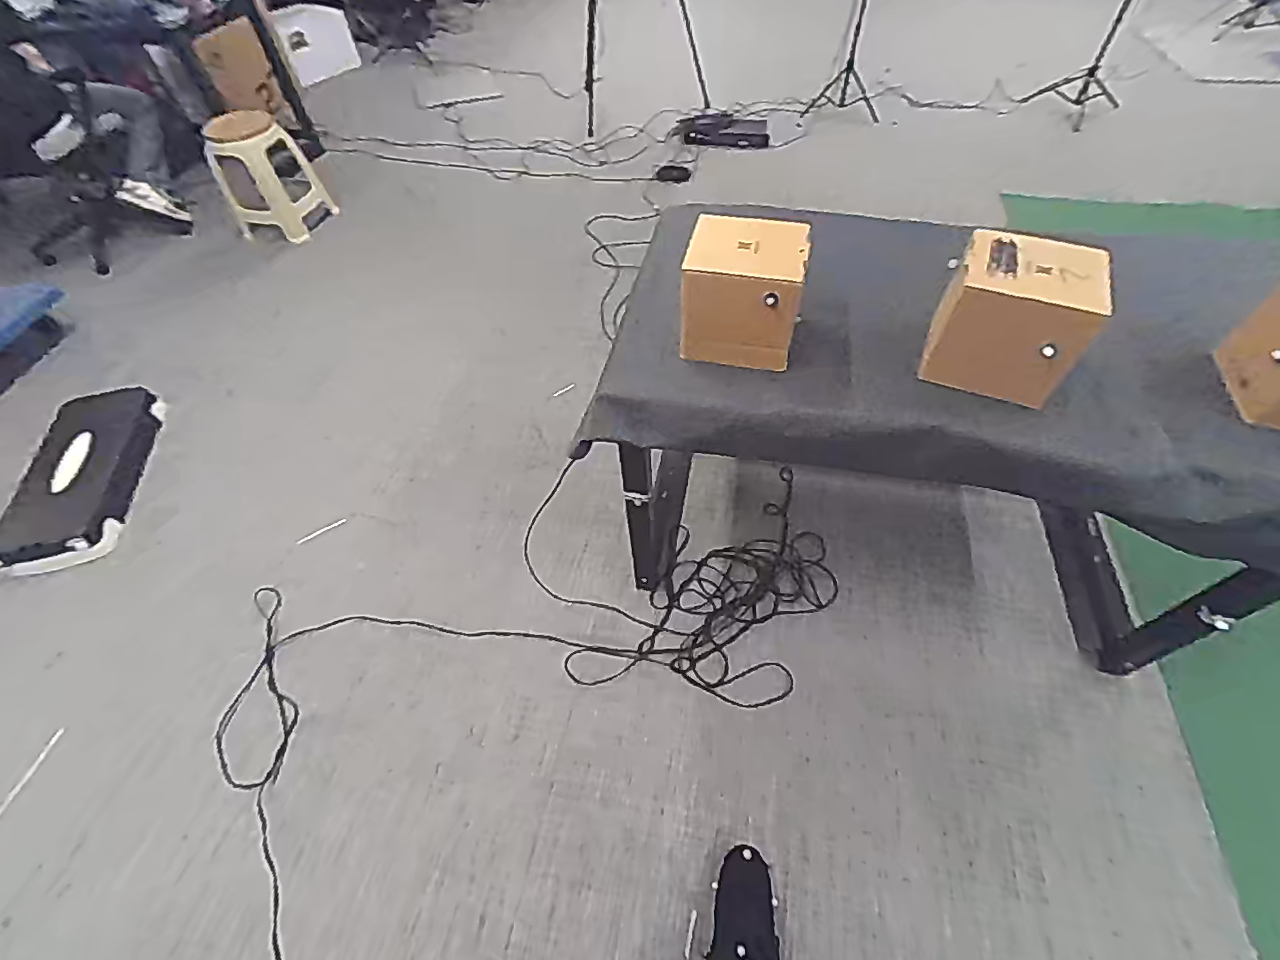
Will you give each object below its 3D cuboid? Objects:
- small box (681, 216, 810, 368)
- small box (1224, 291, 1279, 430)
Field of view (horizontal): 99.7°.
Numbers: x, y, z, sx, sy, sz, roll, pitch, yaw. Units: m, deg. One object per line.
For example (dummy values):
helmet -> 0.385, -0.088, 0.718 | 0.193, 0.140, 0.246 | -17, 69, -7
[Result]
small box -> 0.166, -0.302, 0.875 | 0.179, 0.176, 0.168 | 10, 53, 10
small box -> 0.960, -0.168, 0.729 | 0.179, 0.176, 0.168 | 13, 56, 12
